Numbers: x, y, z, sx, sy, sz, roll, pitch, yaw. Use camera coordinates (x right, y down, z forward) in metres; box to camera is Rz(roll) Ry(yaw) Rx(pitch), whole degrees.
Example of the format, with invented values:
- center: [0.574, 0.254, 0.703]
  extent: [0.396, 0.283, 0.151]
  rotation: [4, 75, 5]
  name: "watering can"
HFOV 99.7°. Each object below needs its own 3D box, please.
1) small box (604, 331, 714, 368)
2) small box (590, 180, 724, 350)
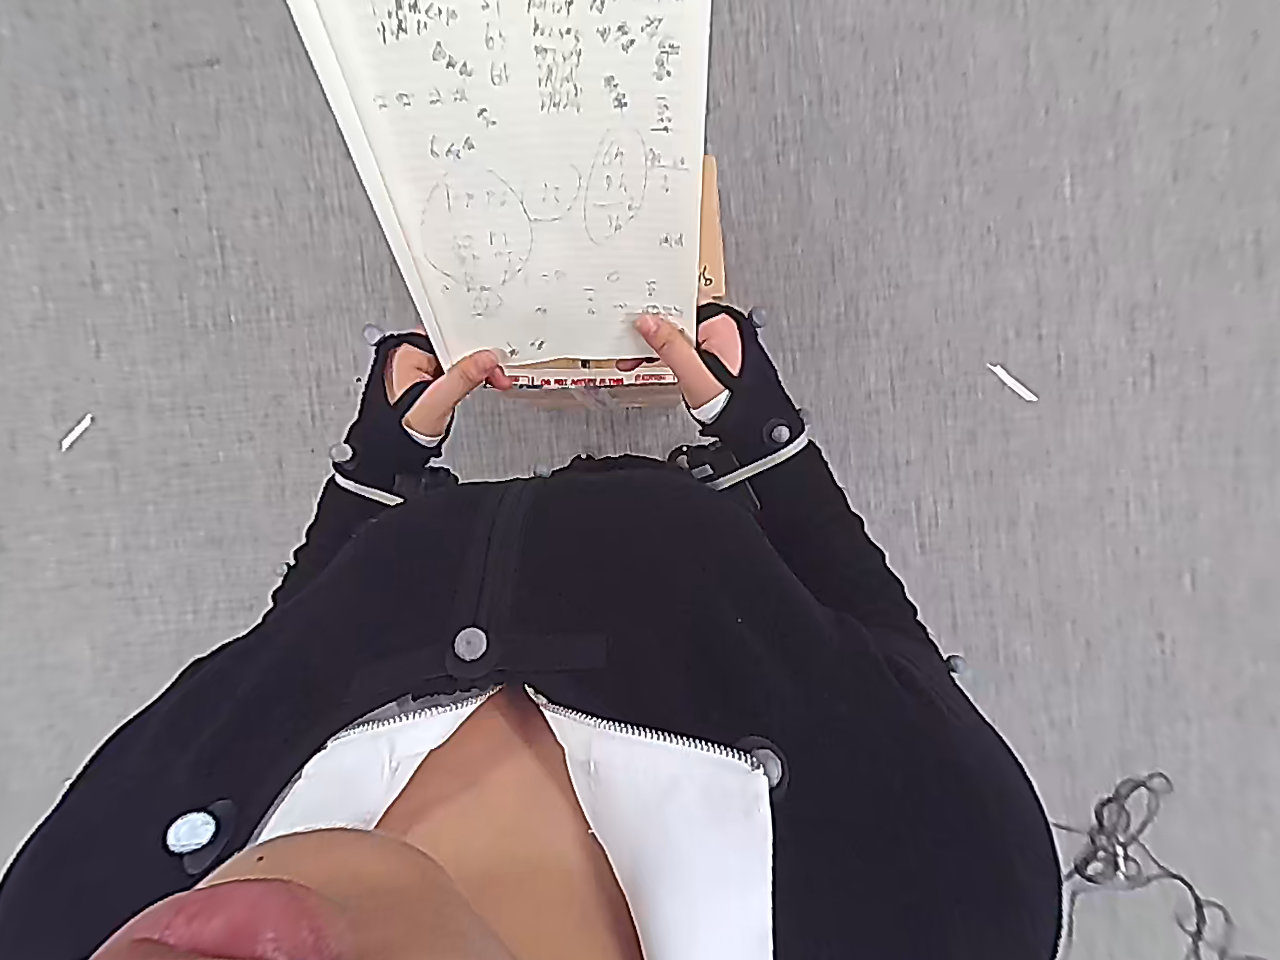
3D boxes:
- center: [0.022, -0.294, 0.932]
  extent: [0.179, 0.176, 0.168]
  rotation: [-7, 93, 1]
  name: "small box"
- center: [0.020, -0.294, 0.768]
  extent: [0.168, 0.176, 0.179]
  rotation: [-5, 93, -1]
  name: "small box"
